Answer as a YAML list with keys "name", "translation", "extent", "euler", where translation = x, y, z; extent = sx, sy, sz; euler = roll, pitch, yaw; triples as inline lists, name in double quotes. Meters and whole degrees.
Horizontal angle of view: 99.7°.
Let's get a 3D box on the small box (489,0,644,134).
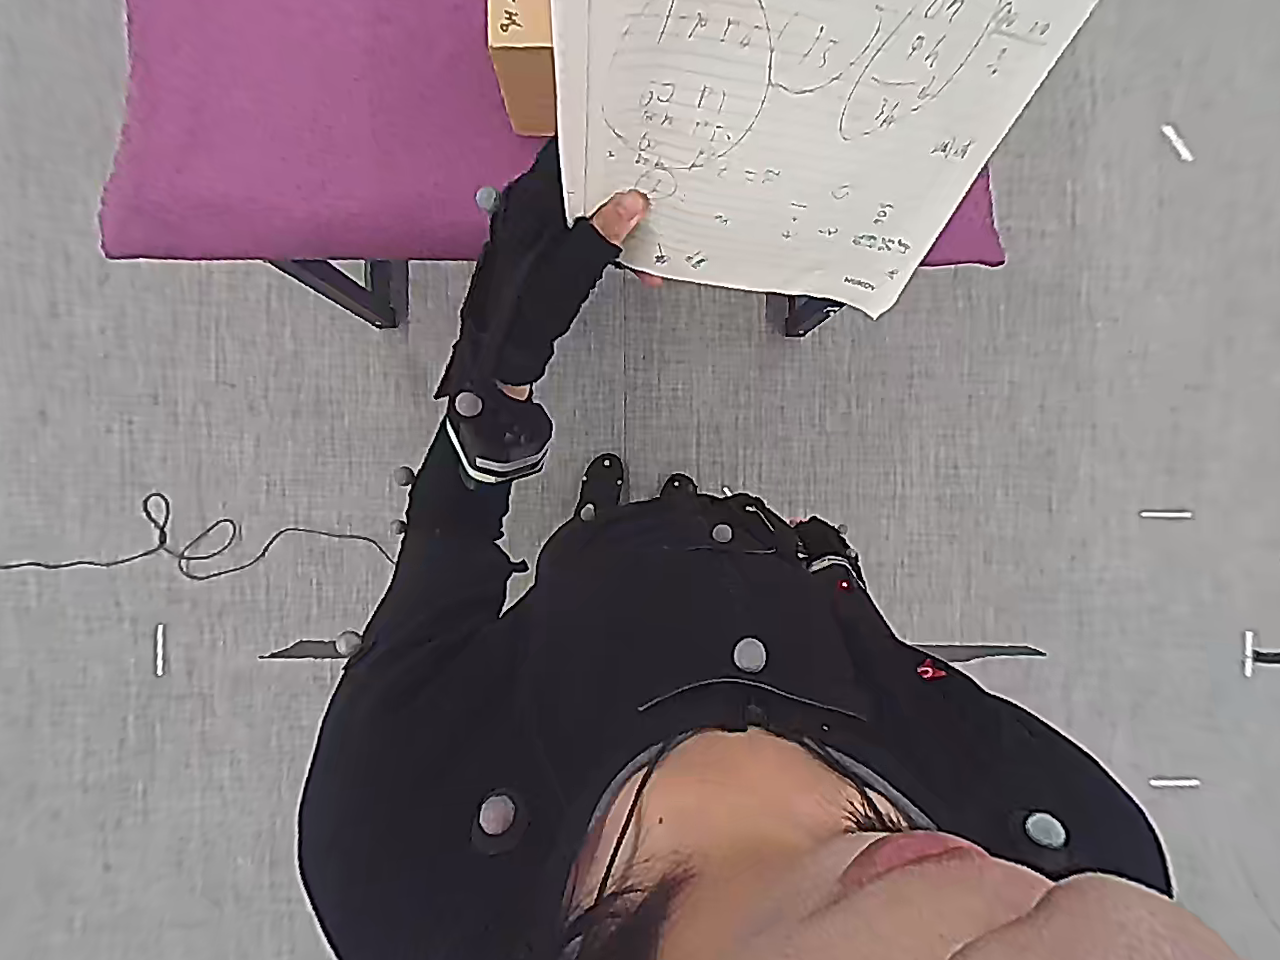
- name: "small box"
  translation: [-0.089, -0.576, 0.693]
  extent: [0.179, 0.176, 0.168]
  euler: [0, 90, -3]
